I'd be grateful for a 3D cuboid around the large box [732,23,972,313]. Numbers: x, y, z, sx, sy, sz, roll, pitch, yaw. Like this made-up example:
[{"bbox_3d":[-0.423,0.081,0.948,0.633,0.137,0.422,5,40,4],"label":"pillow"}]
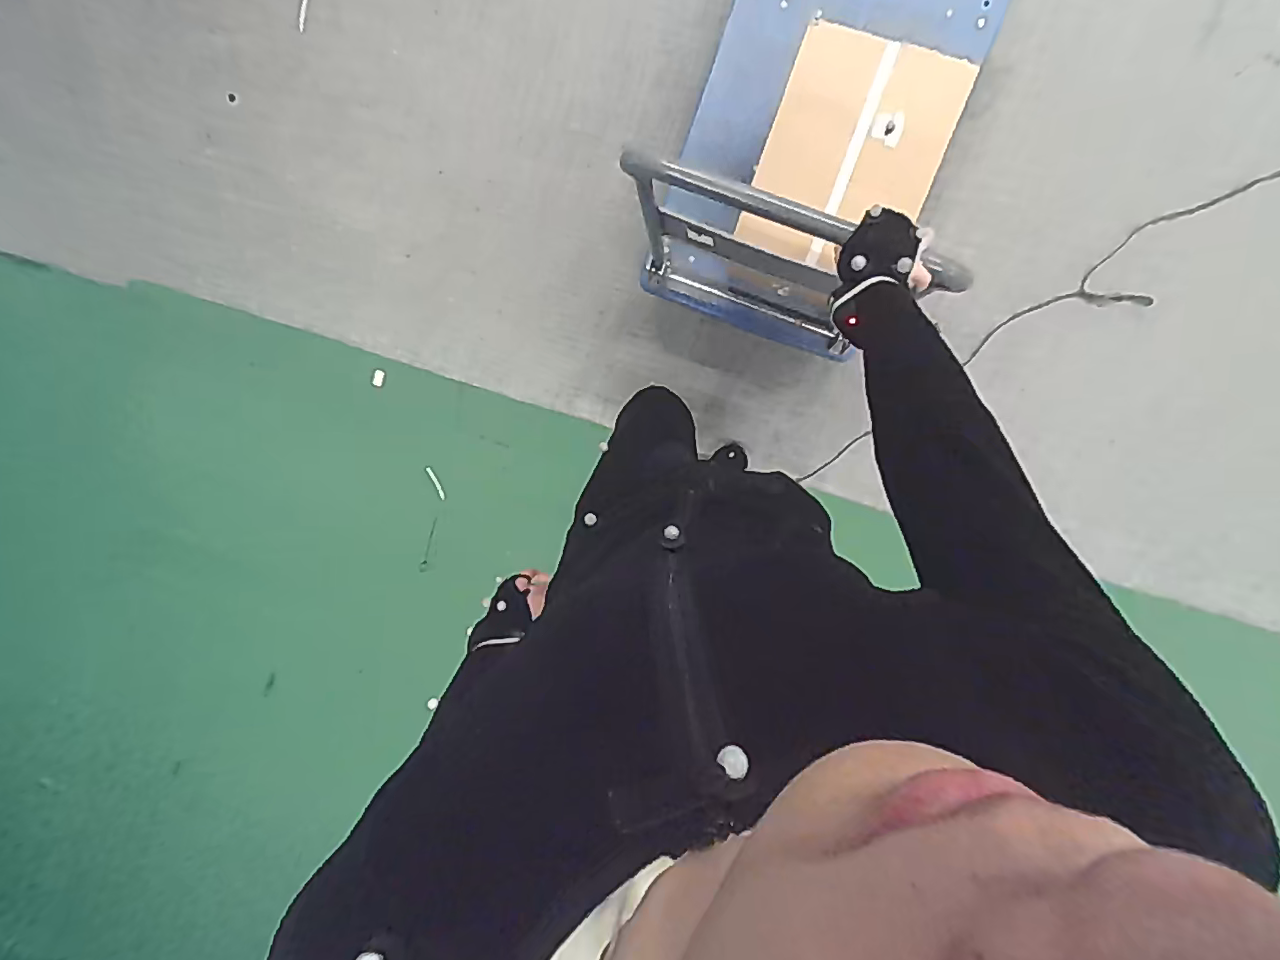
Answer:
[{"bbox_3d":[0.405,-0.614,1.145,0.320,0.320,0.408,20,100,3],"label":"large box"}]
